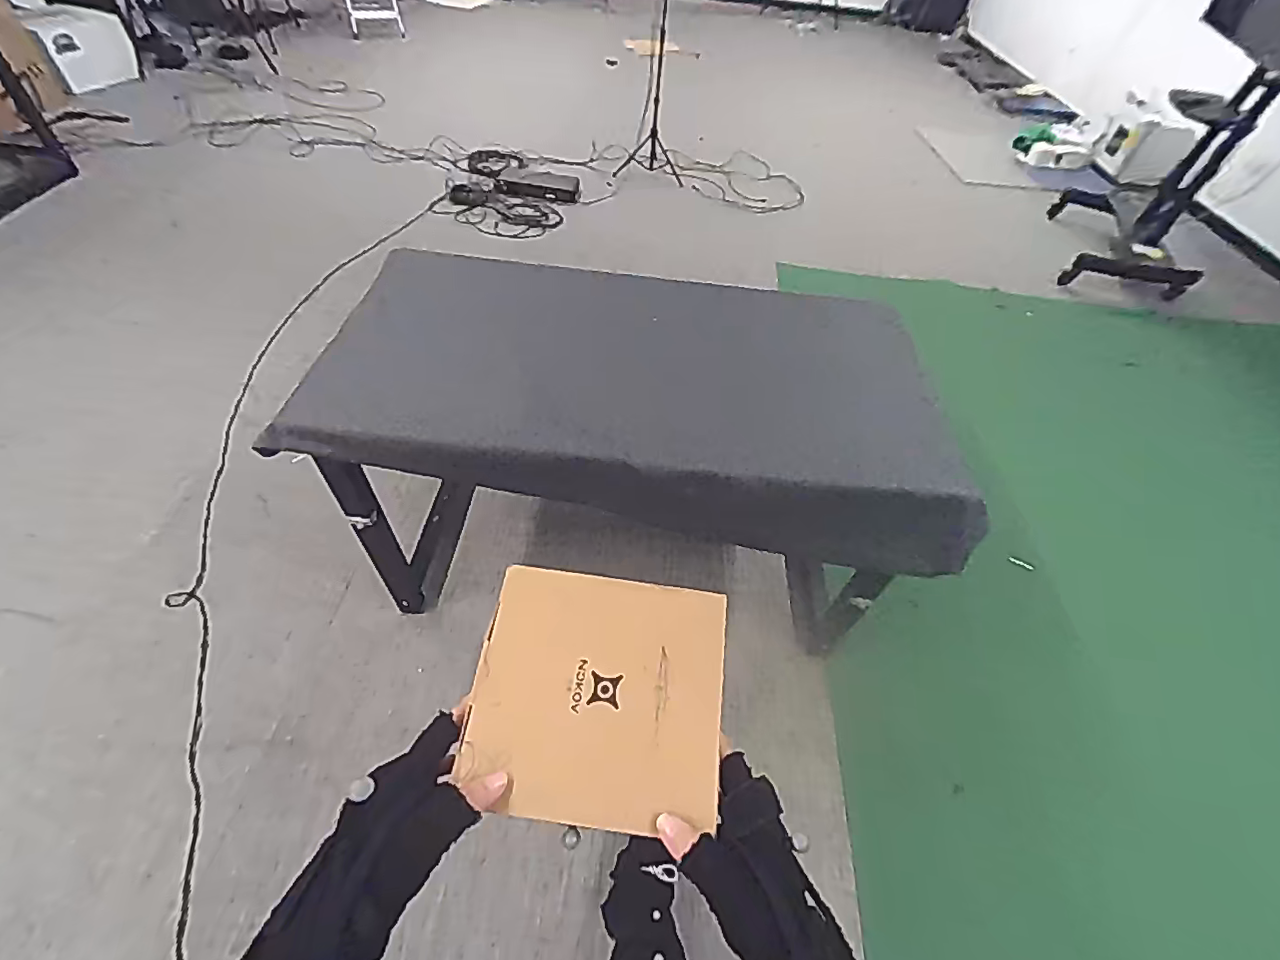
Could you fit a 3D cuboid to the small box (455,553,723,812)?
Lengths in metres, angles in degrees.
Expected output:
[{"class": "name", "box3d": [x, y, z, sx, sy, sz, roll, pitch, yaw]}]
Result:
[{"class": "small box", "box3d": [-0.032, 0.176, 0.460, 0.179, 0.176, 0.168, 6, 61, -1]}]
